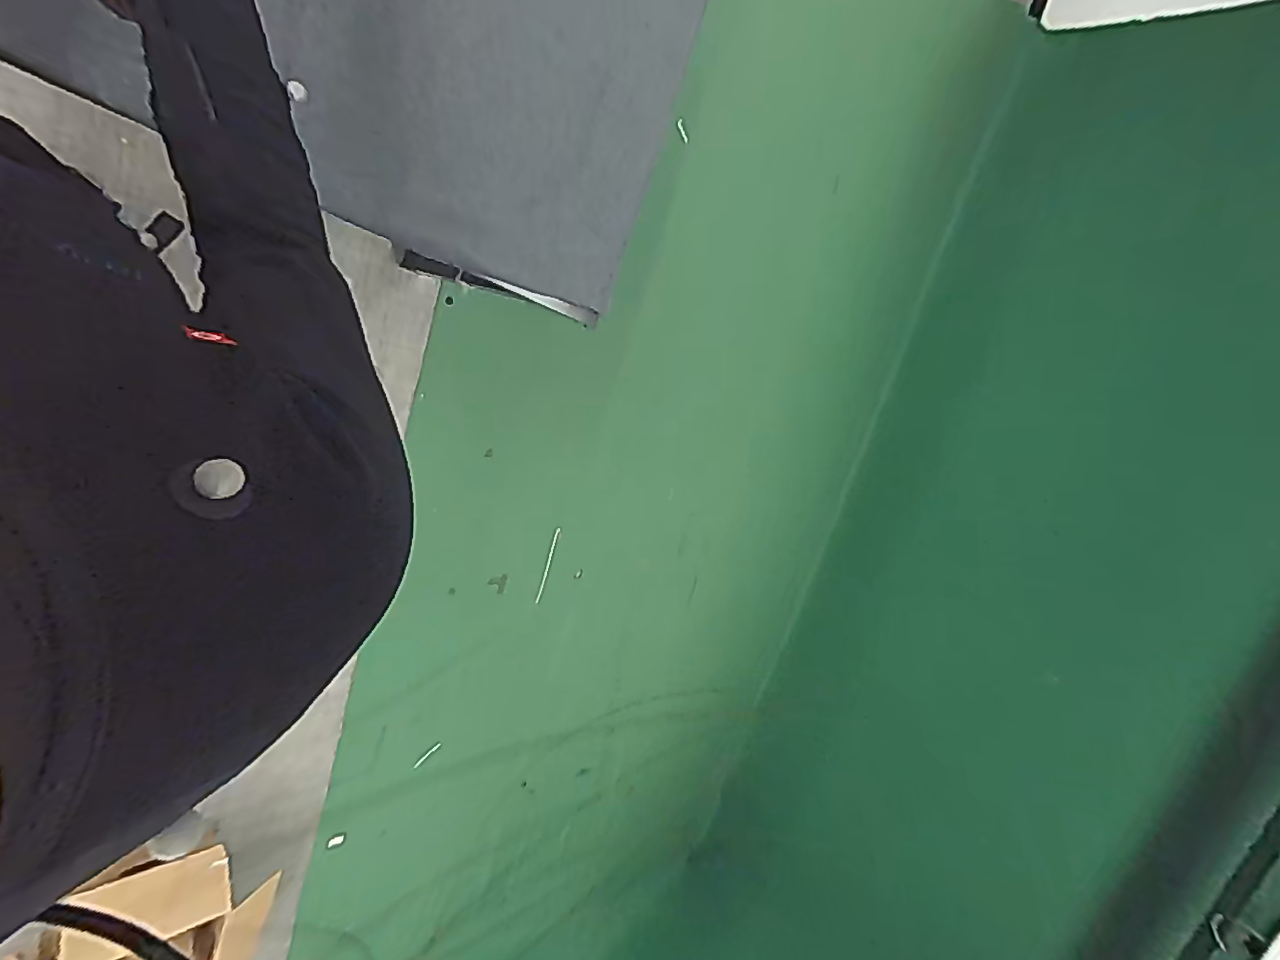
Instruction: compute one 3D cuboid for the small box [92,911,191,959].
[{"bbox_3d":[-1.196,1.193,1.286,0.179,0.176,0.168,8,107,-45],"label":"small box"}]
